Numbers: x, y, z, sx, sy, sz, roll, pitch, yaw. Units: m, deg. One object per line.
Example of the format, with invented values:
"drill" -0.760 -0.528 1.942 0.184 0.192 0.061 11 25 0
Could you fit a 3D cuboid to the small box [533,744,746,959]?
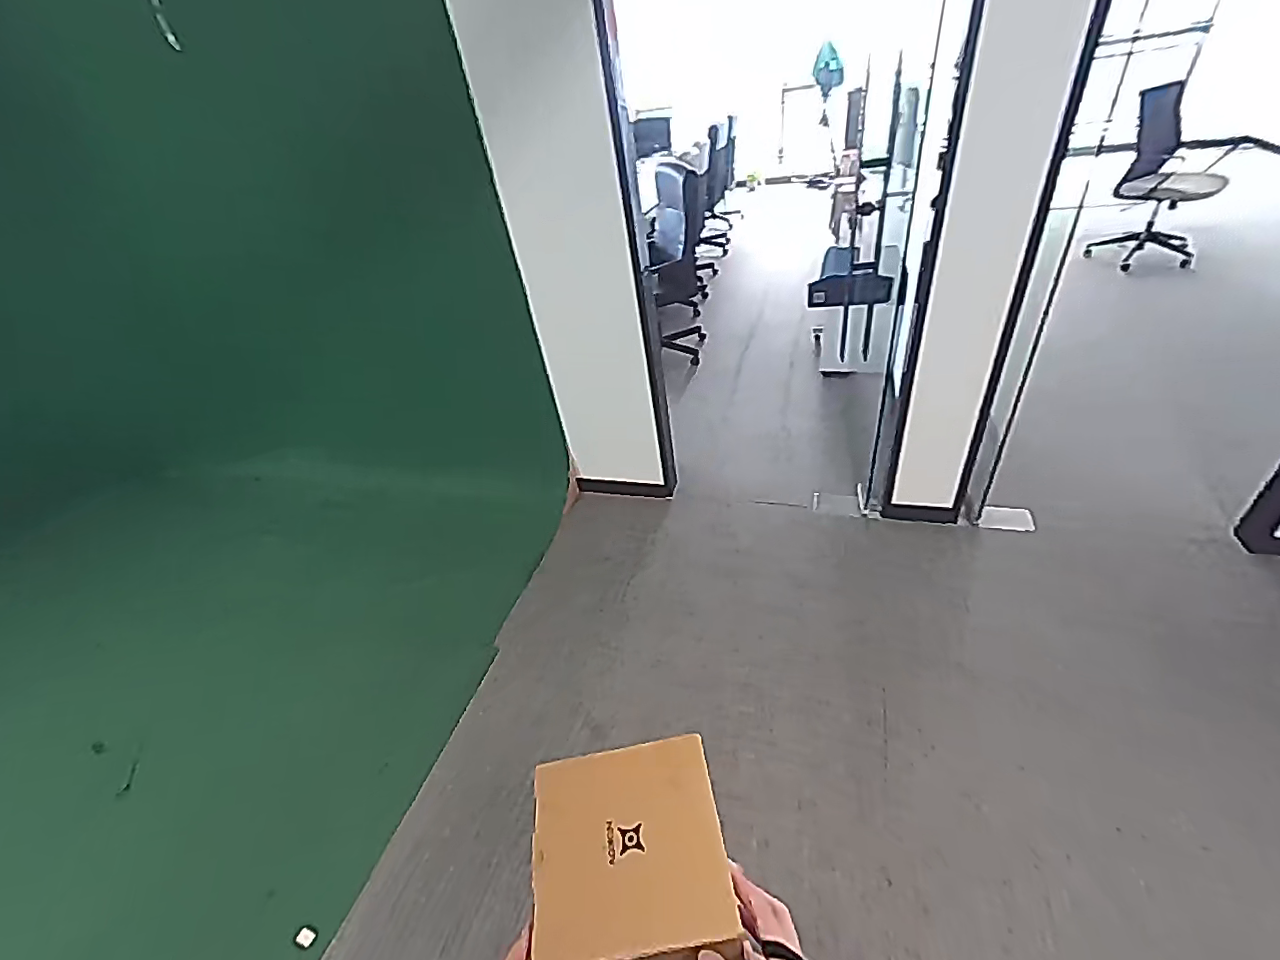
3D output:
"small box" 0.001 0.396 0.540 0.179 0.176 0.168 -12 39 0
